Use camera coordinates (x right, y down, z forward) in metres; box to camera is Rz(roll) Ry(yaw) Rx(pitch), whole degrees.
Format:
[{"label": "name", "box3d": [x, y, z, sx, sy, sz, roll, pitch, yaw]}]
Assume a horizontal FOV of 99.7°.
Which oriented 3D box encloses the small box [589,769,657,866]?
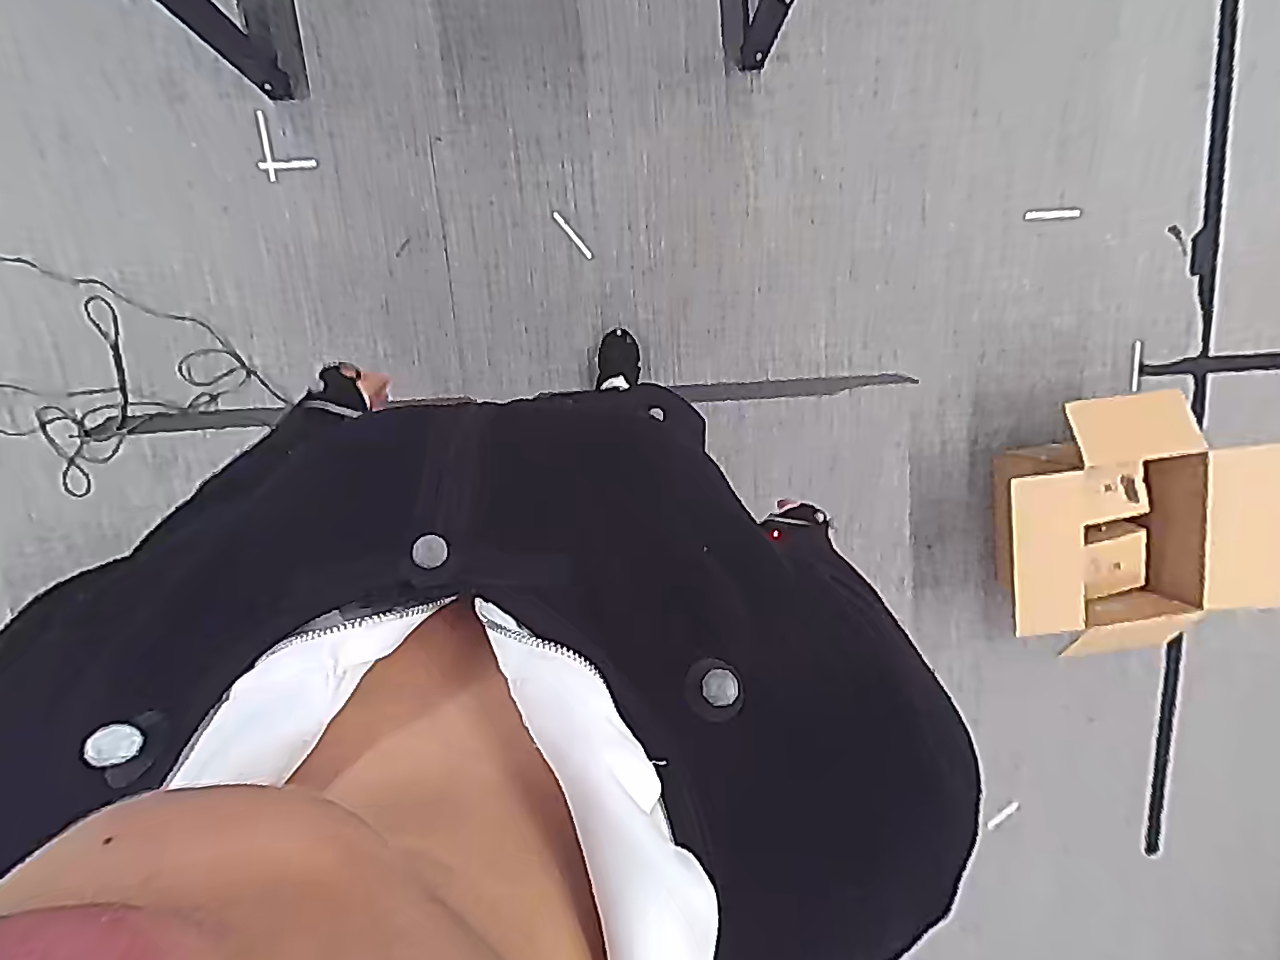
[{"label": "small box", "box3d": [-0.048, 0.936, 1.512, 0.179, 0.176, 0.168, -3, 97, -1]}]
